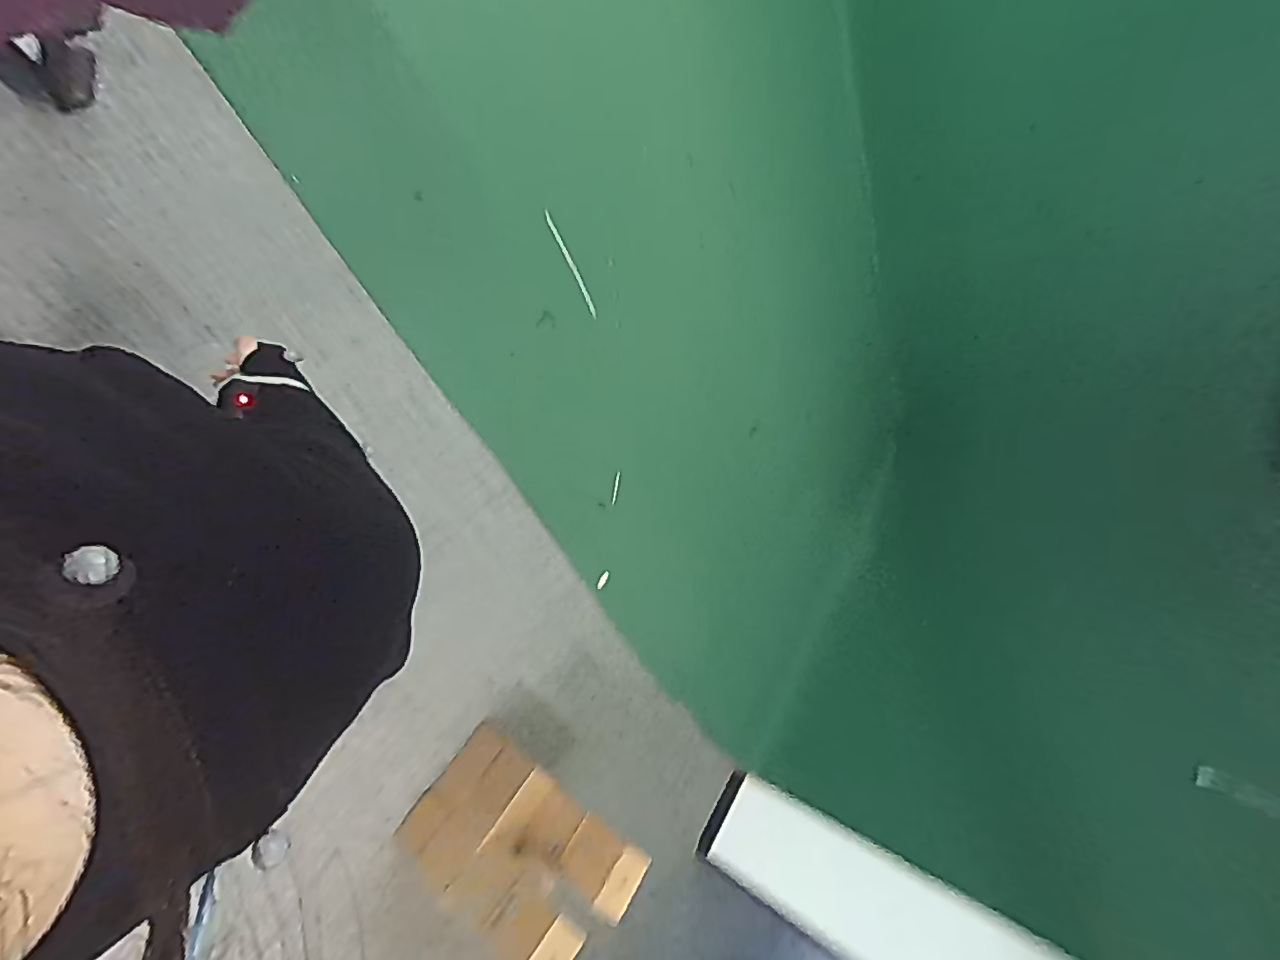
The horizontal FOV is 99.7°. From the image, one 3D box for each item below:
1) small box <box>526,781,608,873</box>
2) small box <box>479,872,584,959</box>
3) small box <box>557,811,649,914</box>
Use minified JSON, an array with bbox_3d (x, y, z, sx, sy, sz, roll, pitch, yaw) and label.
[{"bbox_3d":[-0.230,1.089,1.687,0.179,0.176,0.168,-52,134,-27],"label":"small box"},{"bbox_3d":[-0.280,1.170,1.401,0.168,0.176,0.179,-43,128,-33],"label":"small box"},{"bbox_3d":[-0.108,1.112,1.581,0.168,0.176,0.179,-51,132,-28],"label":"small box"}]
